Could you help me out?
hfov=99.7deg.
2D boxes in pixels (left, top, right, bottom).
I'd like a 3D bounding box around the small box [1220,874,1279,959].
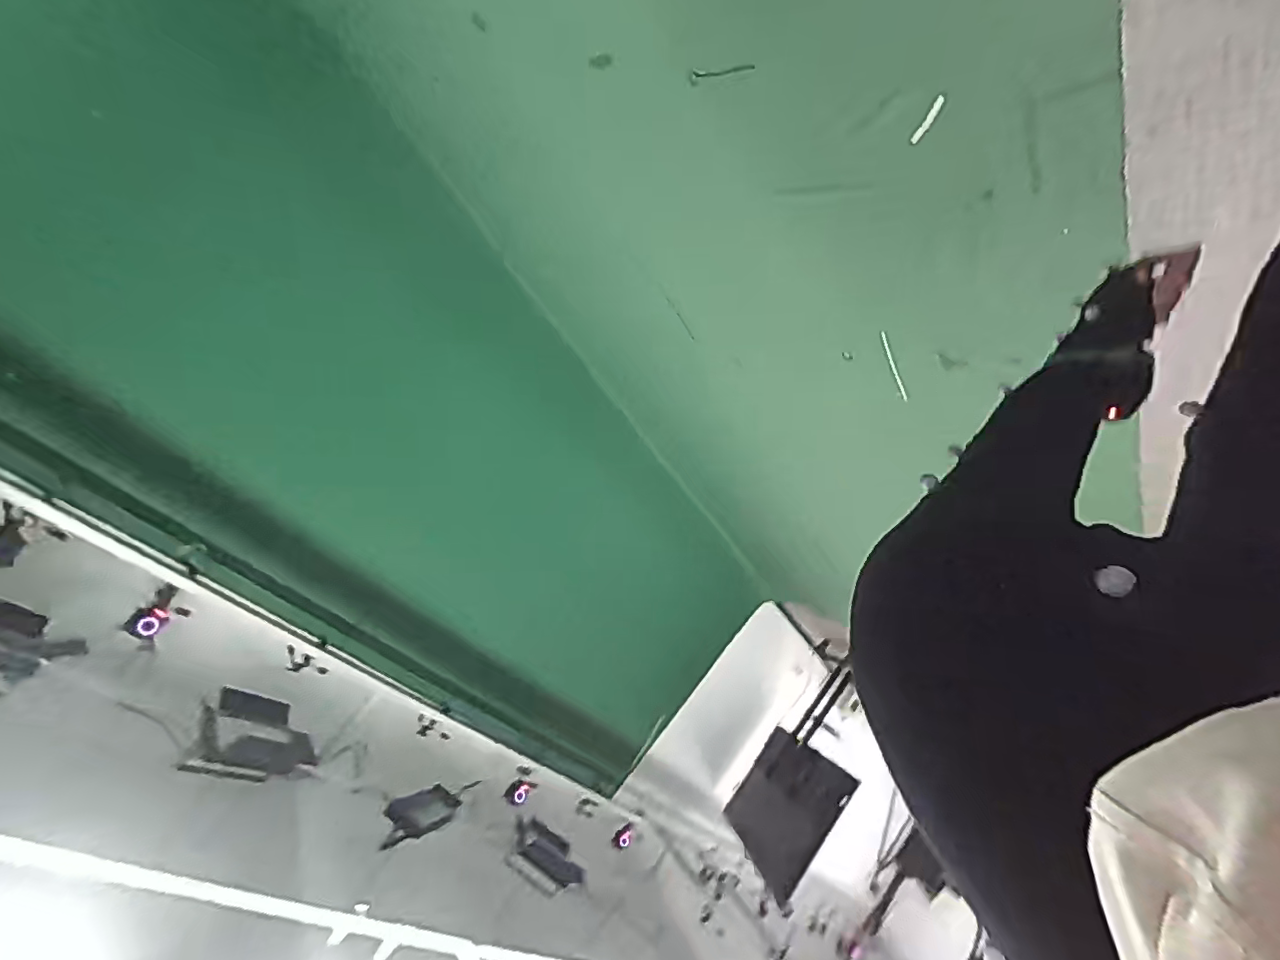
[{"bbox_3d":[1.493,1.061,1.244,0.179,0.176,0.168,23,159,52],"label":"small box"}]
